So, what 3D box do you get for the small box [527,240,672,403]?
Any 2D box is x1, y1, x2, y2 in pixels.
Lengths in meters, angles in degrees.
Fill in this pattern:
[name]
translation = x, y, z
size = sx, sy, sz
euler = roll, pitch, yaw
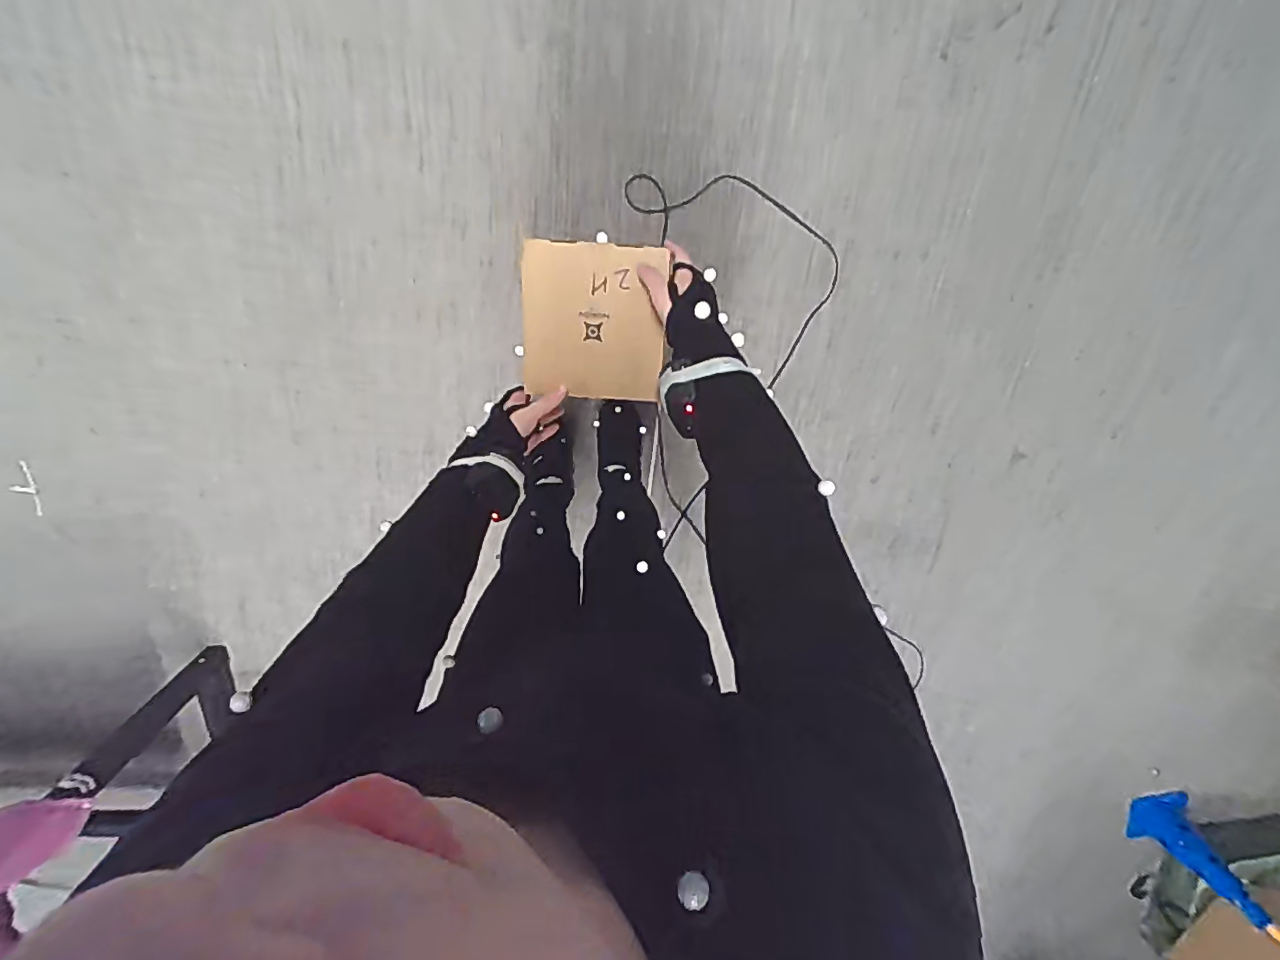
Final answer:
[small box]
translation = -0.051, -0.210, 0.709
size = 0.168, 0.176, 0.179
euler = 4, 110, -2
